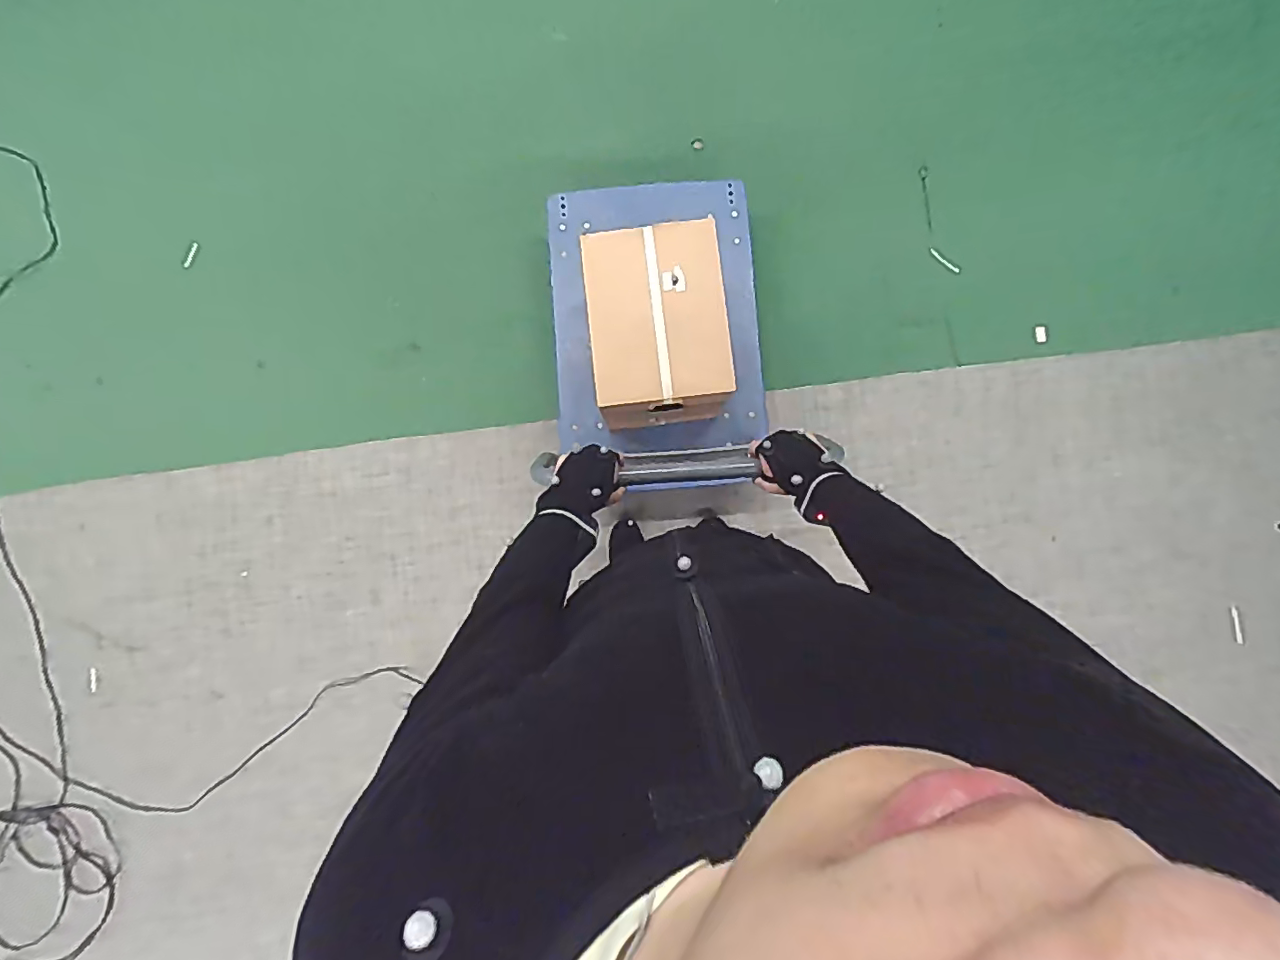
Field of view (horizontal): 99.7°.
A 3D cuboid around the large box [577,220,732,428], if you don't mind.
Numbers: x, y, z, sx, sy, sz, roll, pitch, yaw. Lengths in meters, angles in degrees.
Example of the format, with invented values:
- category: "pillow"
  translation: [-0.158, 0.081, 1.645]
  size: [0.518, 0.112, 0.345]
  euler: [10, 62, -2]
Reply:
- category: "large box"
  translation: [0.036, -0.369, 1.372]
  size: [0.320, 0.320, 0.408]
  euler: [-7, 86, 0]
